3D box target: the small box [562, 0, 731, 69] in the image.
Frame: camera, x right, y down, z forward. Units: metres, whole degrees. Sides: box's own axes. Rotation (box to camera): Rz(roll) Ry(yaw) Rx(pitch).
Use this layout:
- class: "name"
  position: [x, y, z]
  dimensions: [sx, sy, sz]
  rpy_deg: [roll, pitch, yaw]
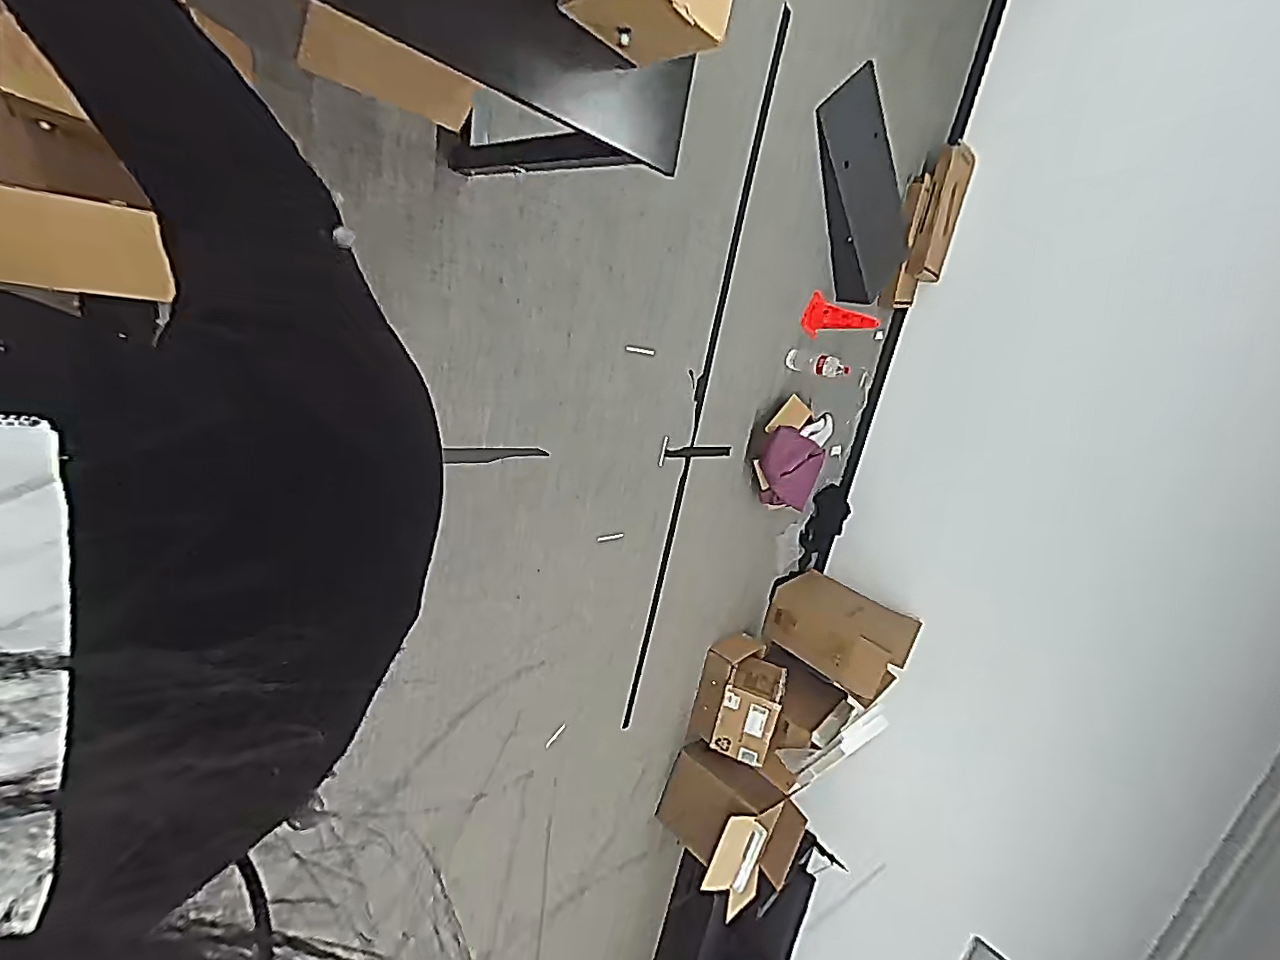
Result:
- class: "small box"
  position: [0.015, -0.696, 0.721]
  dimensions: [0.168, 0.176, 0.179]
  rpy_deg: [-3, 111, -46]
